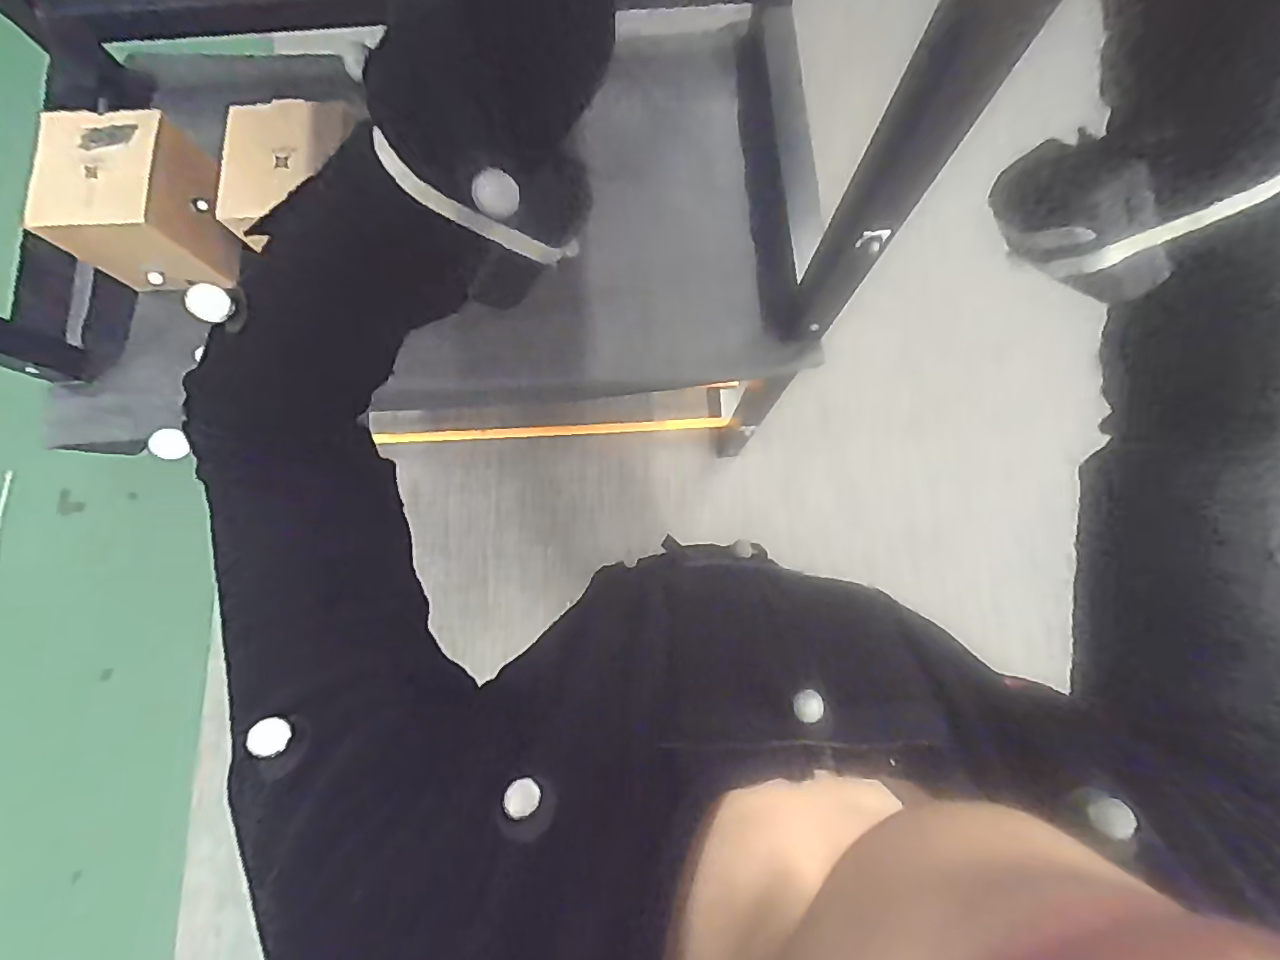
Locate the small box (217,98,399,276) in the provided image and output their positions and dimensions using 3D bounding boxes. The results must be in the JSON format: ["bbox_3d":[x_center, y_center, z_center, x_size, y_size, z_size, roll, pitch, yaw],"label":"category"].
[{"bbox_3d":[-0.479,-0.421,0.806,0.168,0.176,0.179,-2,80,1],"label":"small box"}]

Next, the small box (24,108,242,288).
[{"bbox_3d":[-0.732,-0.410,0.806,0.168,0.176,0.179,-2,80,1],"label":"small box"}]
